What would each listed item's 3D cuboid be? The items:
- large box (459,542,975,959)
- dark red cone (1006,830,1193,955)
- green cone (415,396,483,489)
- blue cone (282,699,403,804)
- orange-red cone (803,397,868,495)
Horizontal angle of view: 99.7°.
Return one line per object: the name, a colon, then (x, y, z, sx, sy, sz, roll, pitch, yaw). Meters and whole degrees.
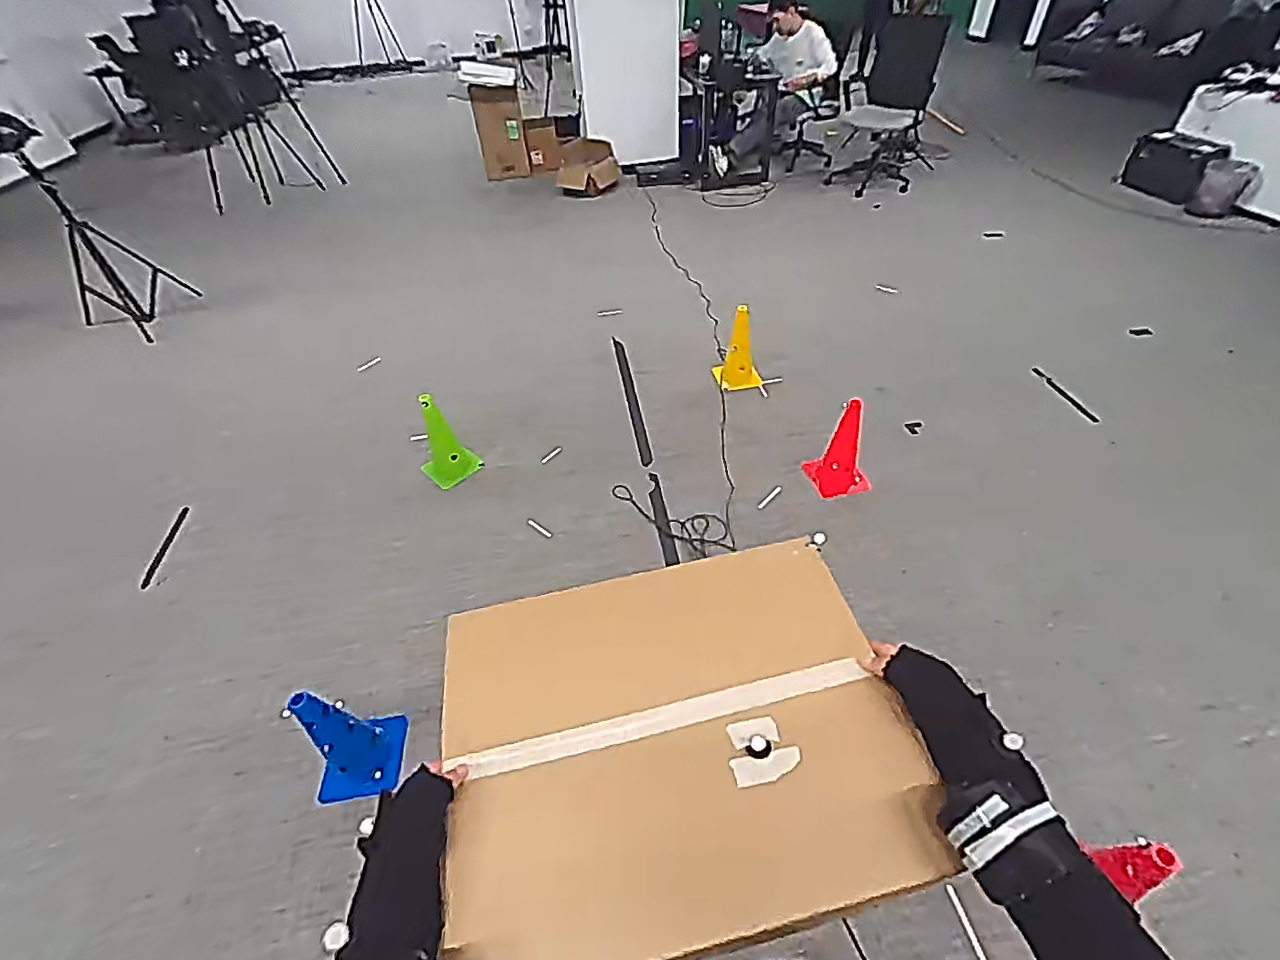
large box: (0.043, 0.319, 0.600, 0.408, 0.320, 0.320, -11, 47, -6)
dark red cone: (0.889, 0.739, 1.015, 0.201, 0.394, 0.202, -6, 44, 0)
green cone: (-0.793, -0.177, 2.118, 0.200, 0.368, 0.202, 31, 56, 31)
blue cone: (-0.748, 0.629, 1.324, 0.192, 0.380, 0.193, -8, 44, -2)
orange-red cone: (0.736, -0.145, 1.956, 0.198, 0.360, 0.199, -11, 43, -7)
